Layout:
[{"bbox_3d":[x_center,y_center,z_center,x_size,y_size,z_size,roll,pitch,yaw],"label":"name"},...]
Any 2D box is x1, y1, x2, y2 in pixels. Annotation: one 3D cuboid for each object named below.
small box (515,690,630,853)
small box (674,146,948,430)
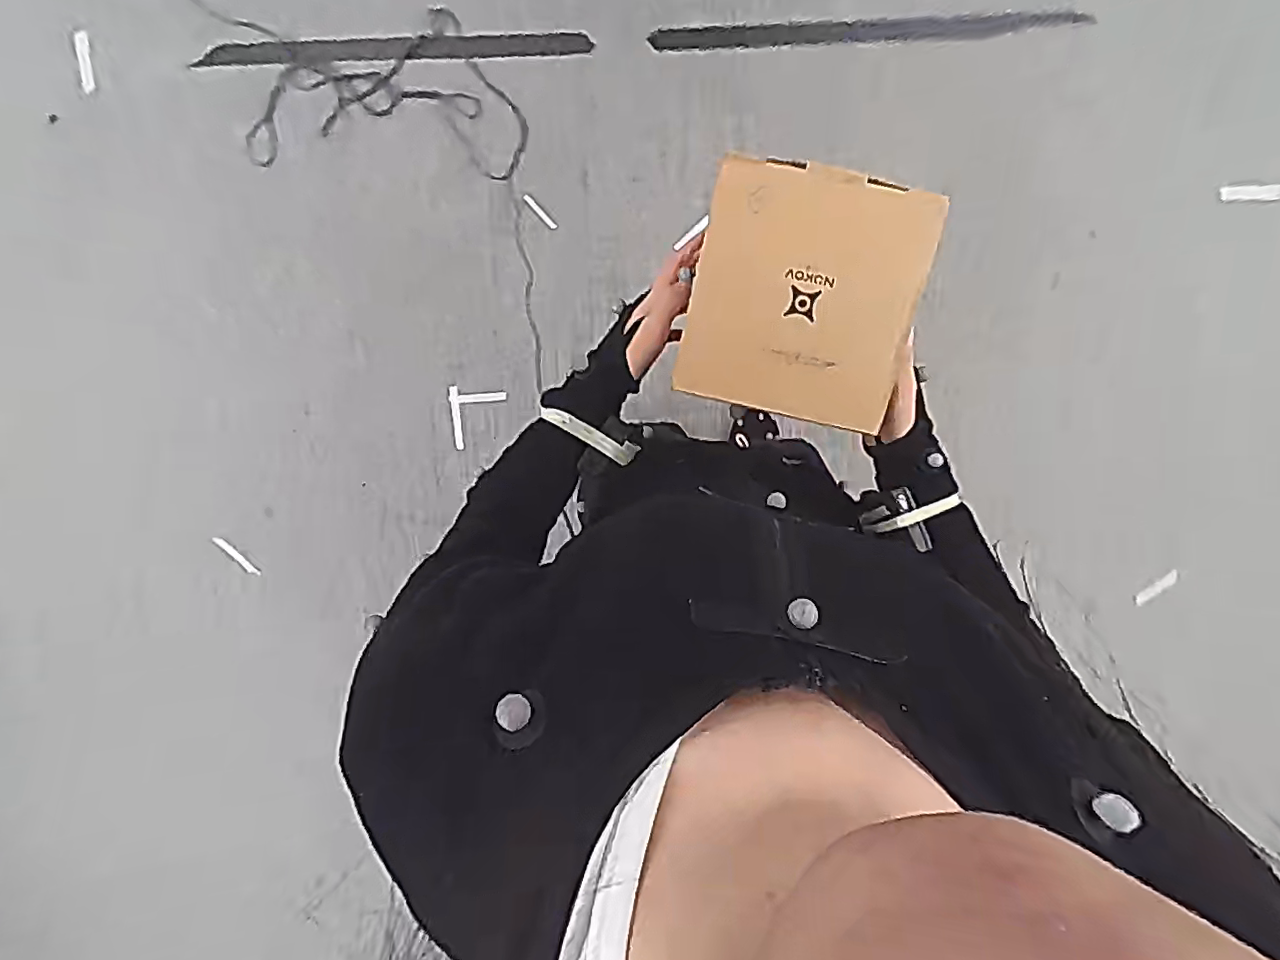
[{"bbox_3d":[-0.105,0.469,0.893,0.168,0.176,0.179,2,98,2],"label":"small box"},{"bbox_3d":[0.127,-0.153,0.475,0.168,0.176,0.179,12,102,2],"label":"small box"}]
